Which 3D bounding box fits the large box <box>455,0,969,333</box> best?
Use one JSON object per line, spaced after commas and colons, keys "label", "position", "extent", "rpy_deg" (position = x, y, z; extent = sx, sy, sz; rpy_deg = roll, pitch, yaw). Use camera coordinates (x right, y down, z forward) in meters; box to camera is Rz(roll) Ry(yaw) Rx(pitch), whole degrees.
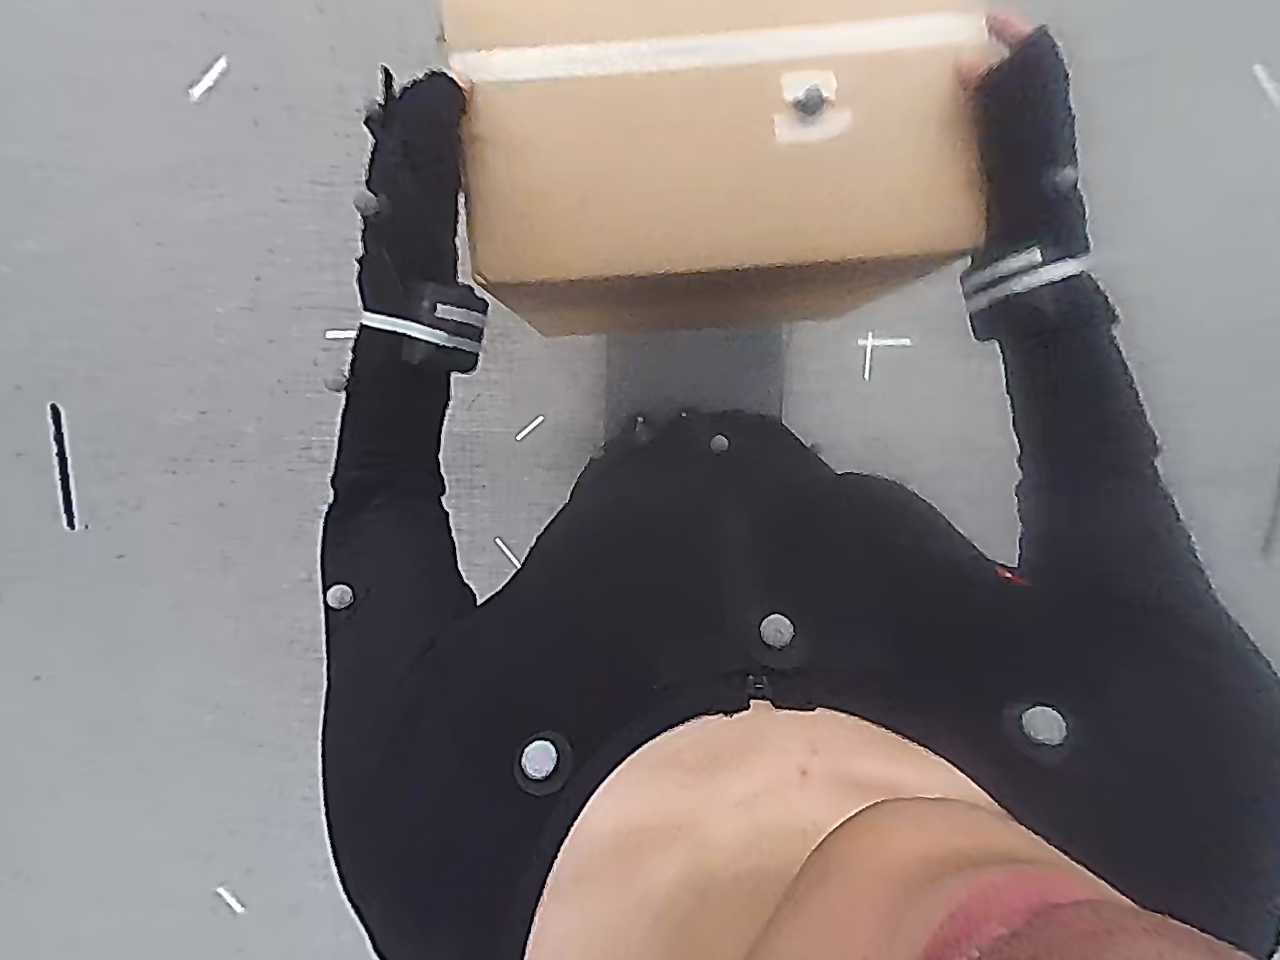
{"label": "large box", "position": [0.055, -0.349, 0.571], "extent": [0.408, 0.320, 0.320], "rpy_deg": [-4, 97, 0]}
